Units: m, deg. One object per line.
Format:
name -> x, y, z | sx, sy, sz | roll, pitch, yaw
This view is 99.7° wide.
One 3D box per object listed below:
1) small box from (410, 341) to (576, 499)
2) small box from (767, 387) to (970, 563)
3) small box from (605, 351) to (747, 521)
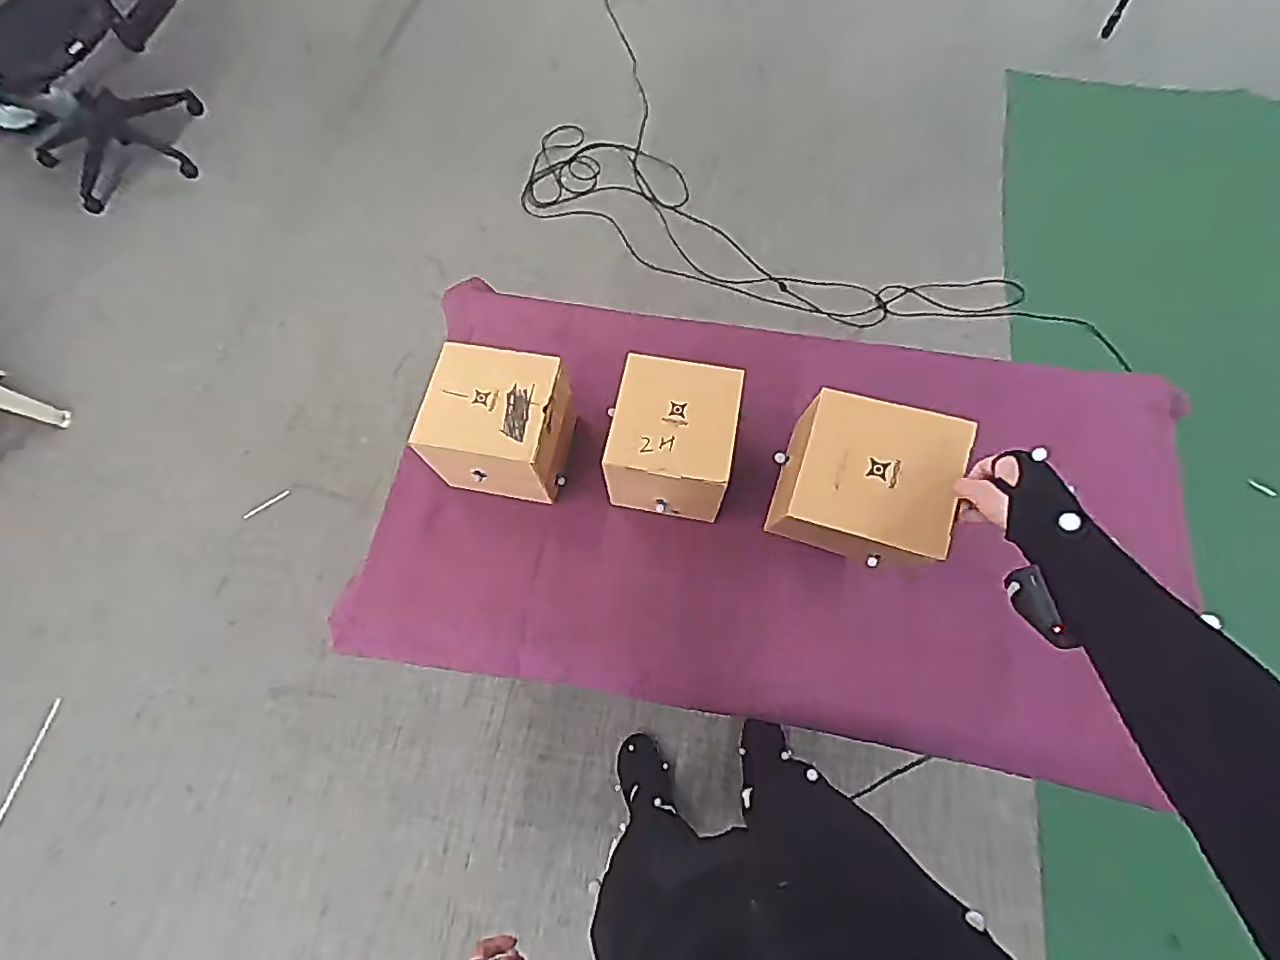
small box -> -0.203, -0.080, 0.806 | 0.179, 0.176, 0.168 | 10, 70, 6
small box -> 0.281, 0.003, 0.702 | 0.179, 0.176, 0.168 | 18, 81, 7
small box -> 0.051, -0.058, 0.792 | 0.168, 0.176, 0.179 | 11, 70, 6
